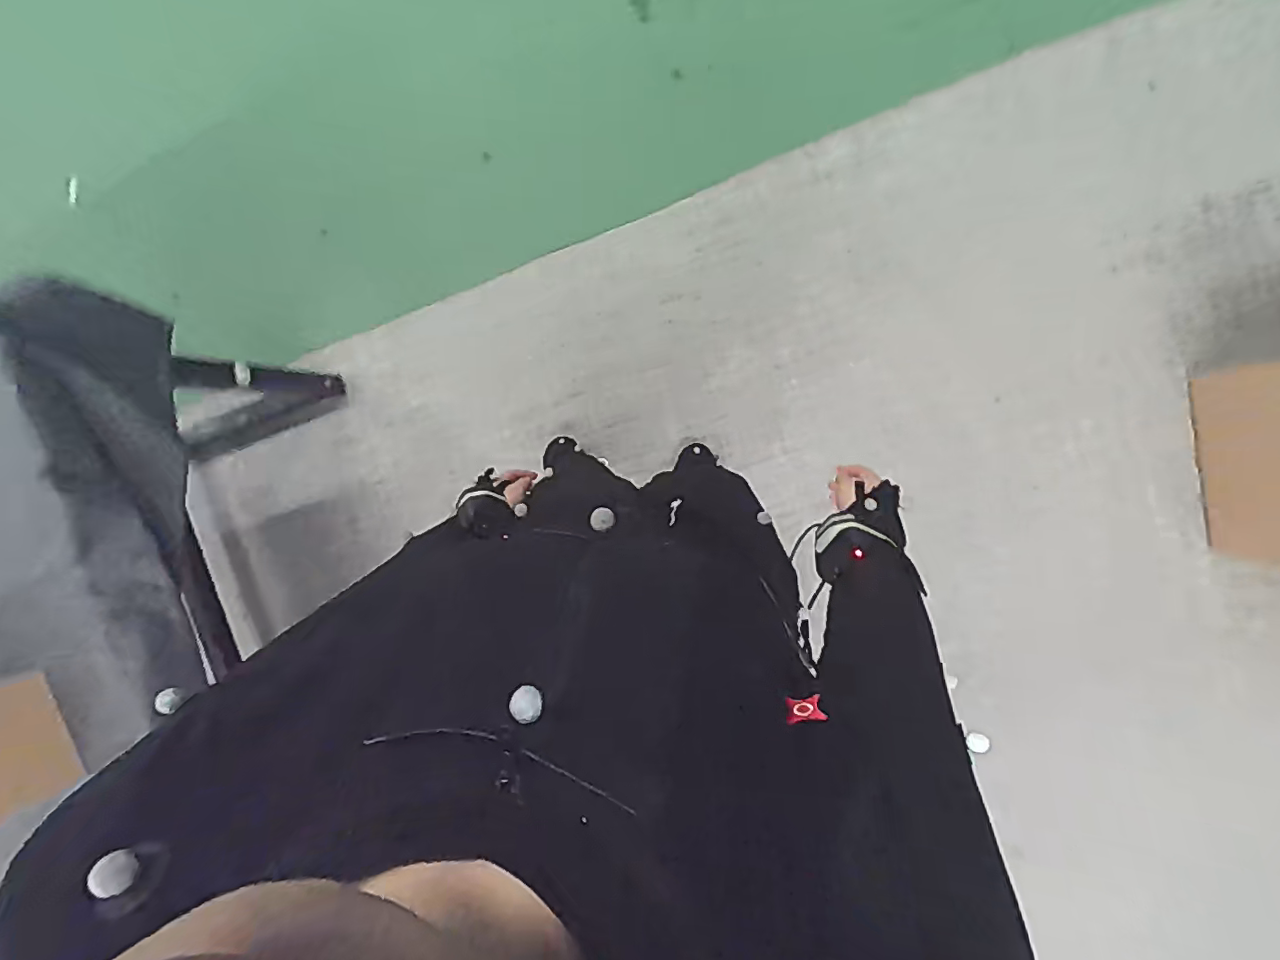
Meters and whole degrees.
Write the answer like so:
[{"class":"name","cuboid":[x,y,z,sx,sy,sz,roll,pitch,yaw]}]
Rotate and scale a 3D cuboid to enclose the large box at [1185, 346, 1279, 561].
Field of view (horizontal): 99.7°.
[{"class":"large box","cuboid":[1.330,-0.066,0.999,0.320,0.320,0.408,-12,95,11]}]
